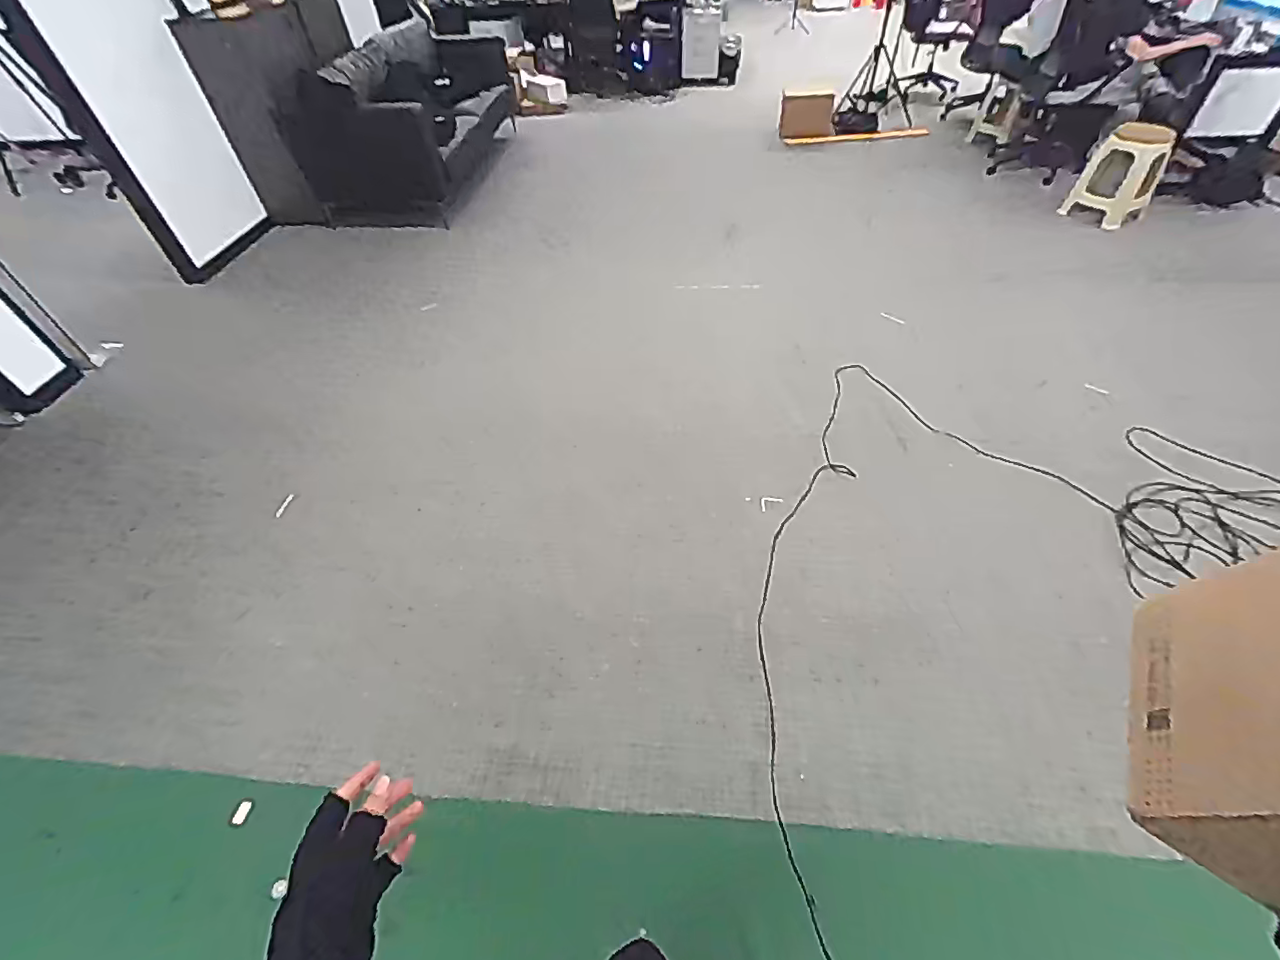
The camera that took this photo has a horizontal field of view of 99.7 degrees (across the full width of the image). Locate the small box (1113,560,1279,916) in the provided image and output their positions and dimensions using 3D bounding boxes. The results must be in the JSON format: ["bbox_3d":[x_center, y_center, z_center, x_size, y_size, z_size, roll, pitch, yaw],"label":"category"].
[{"bbox_3d":[0.407,0.144,0.280,0.179,0.176,0.168,33,57,8],"label":"small box"}]
